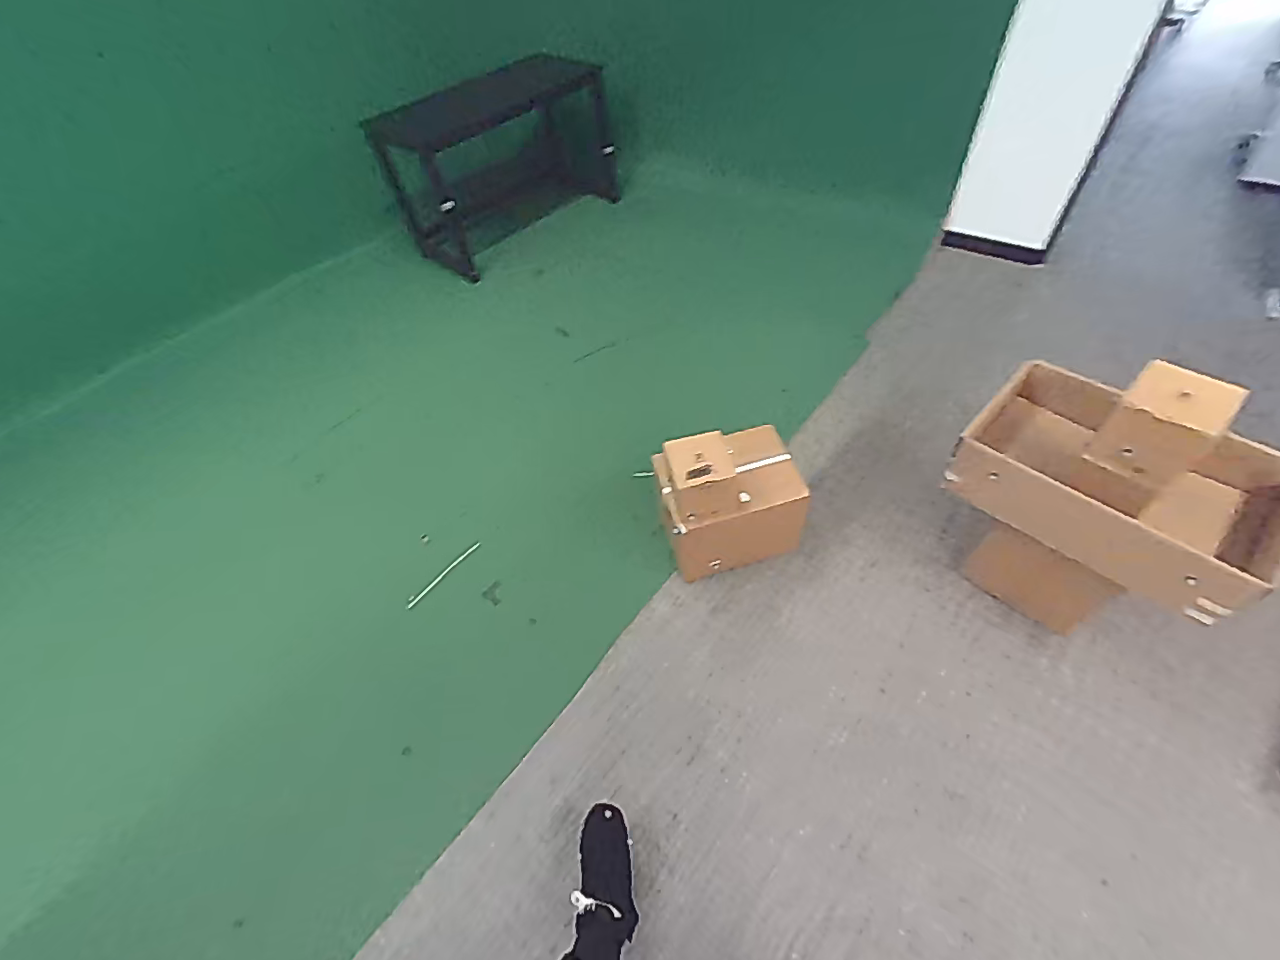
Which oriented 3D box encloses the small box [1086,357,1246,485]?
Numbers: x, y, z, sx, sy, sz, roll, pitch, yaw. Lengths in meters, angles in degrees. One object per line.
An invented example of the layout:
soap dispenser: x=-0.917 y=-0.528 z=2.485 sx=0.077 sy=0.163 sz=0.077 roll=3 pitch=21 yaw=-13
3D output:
small box: x=1.115 y=-0.125 z=1.163 sx=0.179 sy=0.176 sz=0.168 roll=-39 pitch=56 yaw=-20

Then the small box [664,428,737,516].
small box: x=0.170 y=-0.015 z=1.534 sx=0.168 sy=0.176 sz=0.179 roll=-12 pitch=51 yaw=-4
